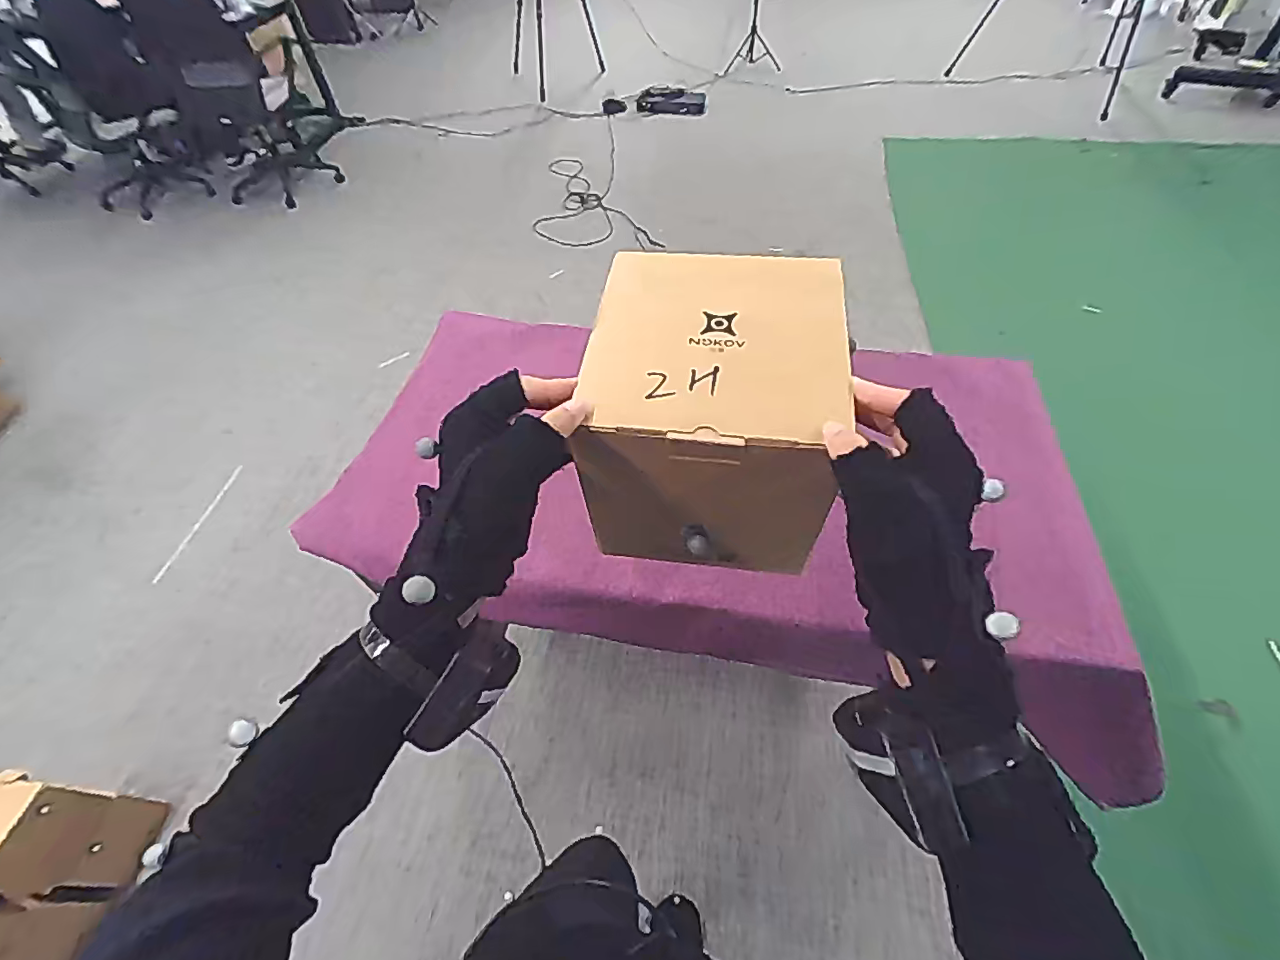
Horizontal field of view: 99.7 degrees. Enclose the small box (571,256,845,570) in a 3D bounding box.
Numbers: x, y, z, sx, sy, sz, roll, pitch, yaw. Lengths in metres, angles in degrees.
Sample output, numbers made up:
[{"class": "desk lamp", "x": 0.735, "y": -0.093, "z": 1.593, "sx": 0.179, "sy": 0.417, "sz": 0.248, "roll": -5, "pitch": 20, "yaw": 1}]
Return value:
[{"class": "small box", "x": 0.055, "y": -0.050, "z": 0.430, "sx": 0.168, "sy": 0.176, "sz": 0.179, "roll": 6, "pitch": 56, "yaw": 8}]
